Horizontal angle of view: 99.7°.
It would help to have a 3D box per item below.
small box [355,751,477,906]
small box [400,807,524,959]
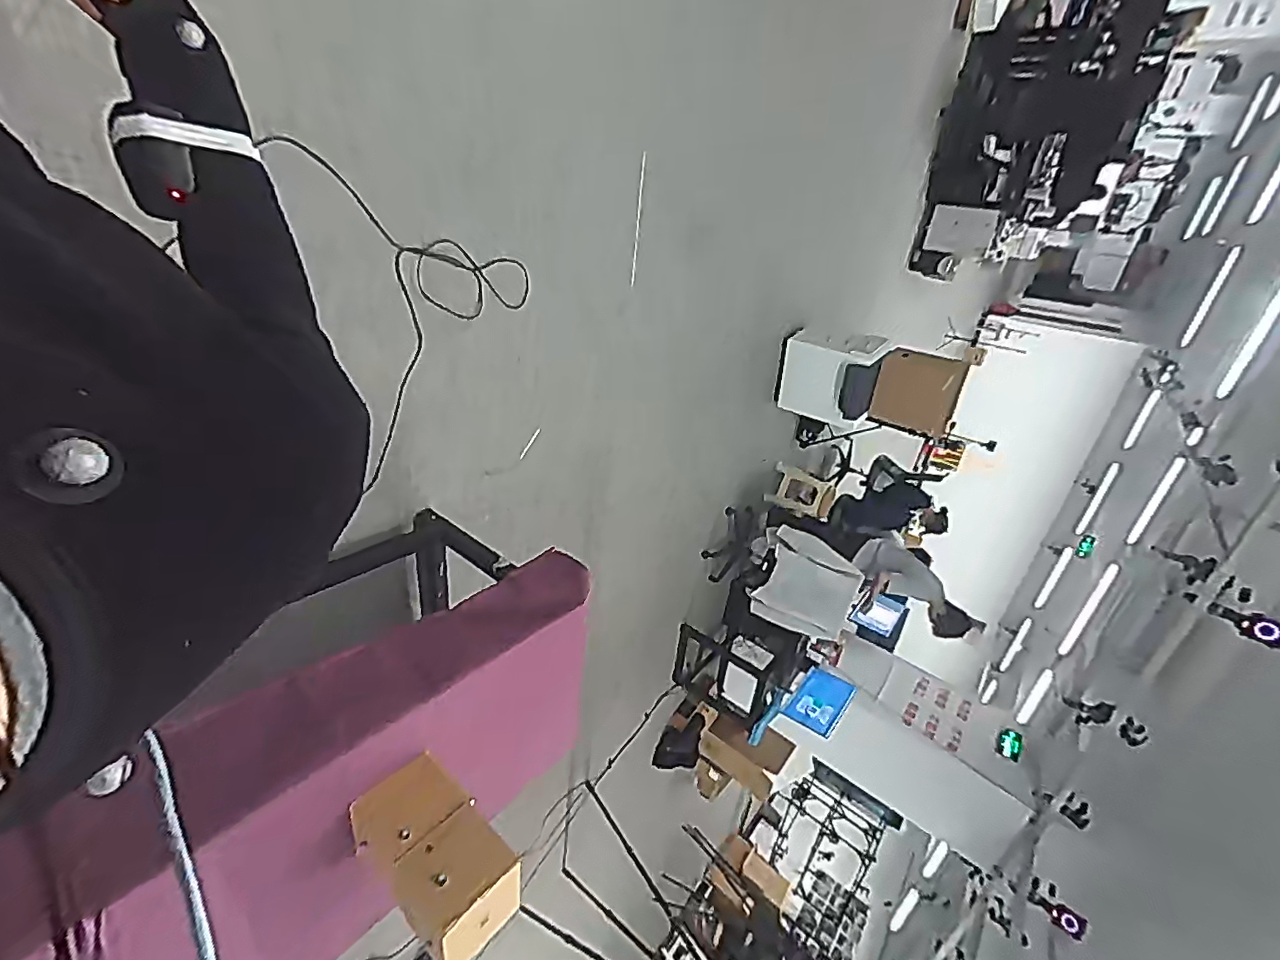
[{"bbox_3d":[-0.463,0.715,1.130,0.179,0.176,0.168,-23,129,-46],"label":"small box"},{"bbox_3d":[-0.342,0.775,1.039,0.168,0.176,0.179,-24,131,-45],"label":"small box"}]
